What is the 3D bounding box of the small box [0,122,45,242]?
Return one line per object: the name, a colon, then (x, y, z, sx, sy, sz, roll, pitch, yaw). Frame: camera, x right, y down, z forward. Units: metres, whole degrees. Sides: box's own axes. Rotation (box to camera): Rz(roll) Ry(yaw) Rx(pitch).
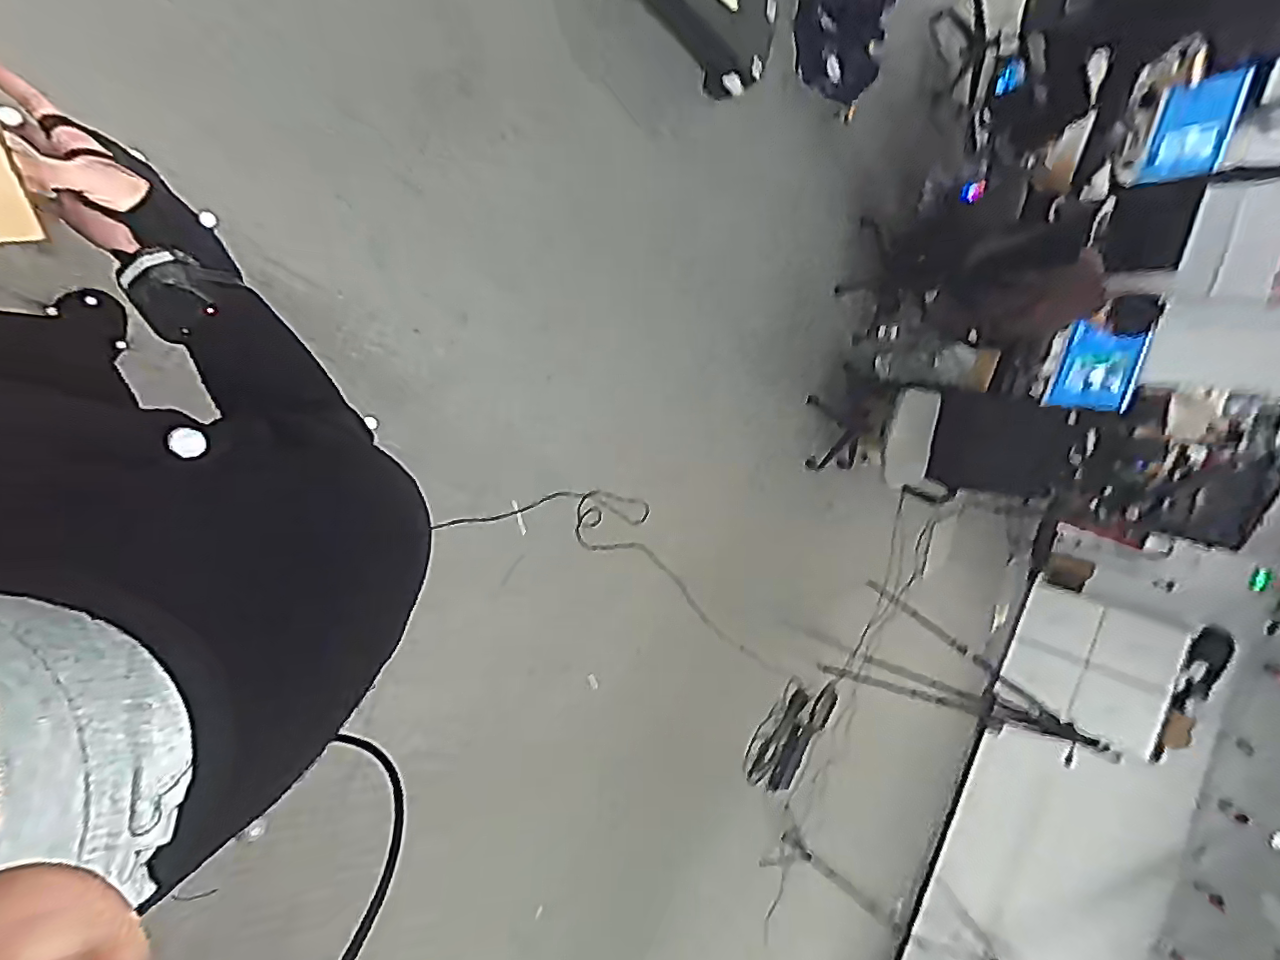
small box: (-1.121, -0.515, 0.882, 0.168, 0.176, 0.179, 23, 88, -45)
